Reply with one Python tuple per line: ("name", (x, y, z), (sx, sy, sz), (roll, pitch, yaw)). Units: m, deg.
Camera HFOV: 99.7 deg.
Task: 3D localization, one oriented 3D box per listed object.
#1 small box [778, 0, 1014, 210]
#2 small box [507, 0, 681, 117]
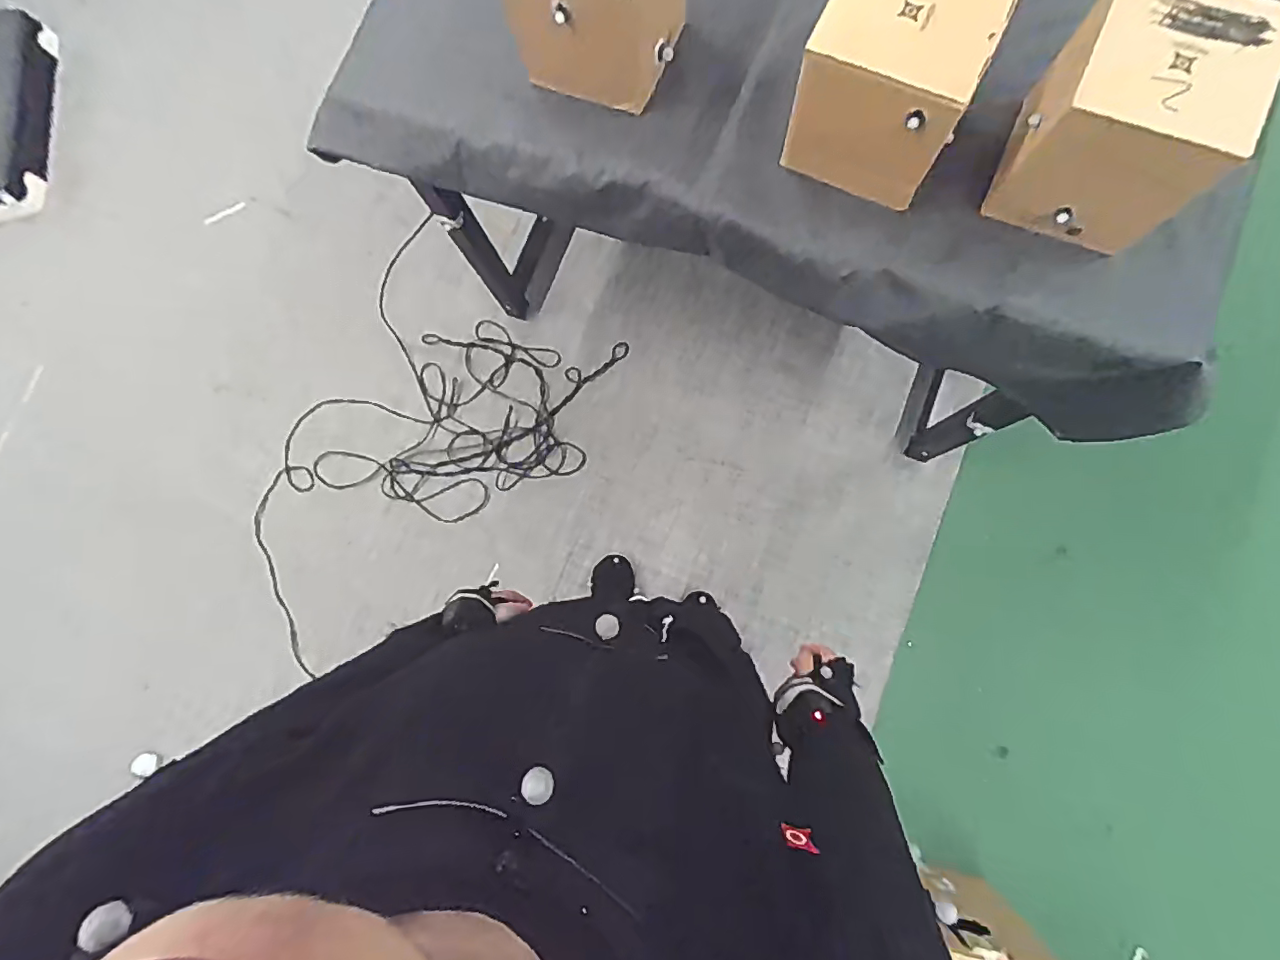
("small box", (0.281, -0.456, 0.633), (0.179, 0.176, 0.168), (25, 83, 7))
("small box", (-0.057, -0.607, 0.683), (0.179, 0.176, 0.168), (22, 84, 6))
